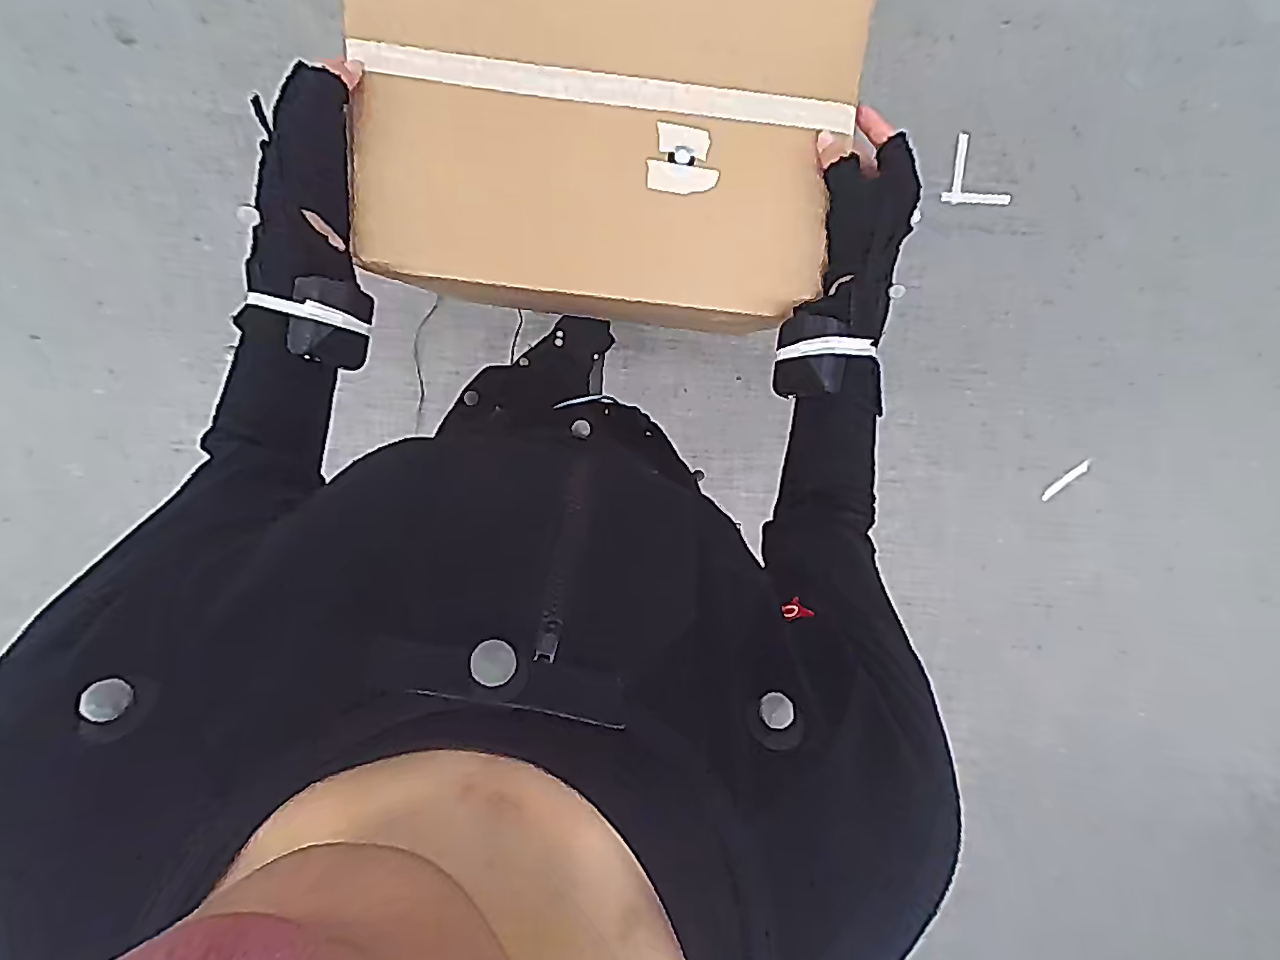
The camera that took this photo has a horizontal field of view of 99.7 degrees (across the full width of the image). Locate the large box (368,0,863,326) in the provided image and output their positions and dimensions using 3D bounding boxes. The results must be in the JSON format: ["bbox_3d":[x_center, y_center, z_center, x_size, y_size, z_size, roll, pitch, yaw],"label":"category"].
[{"bbox_3d":[-0.030,-0.354,0.594,0.408,0.320,0.320,6,103,-3],"label":"large box"}]
